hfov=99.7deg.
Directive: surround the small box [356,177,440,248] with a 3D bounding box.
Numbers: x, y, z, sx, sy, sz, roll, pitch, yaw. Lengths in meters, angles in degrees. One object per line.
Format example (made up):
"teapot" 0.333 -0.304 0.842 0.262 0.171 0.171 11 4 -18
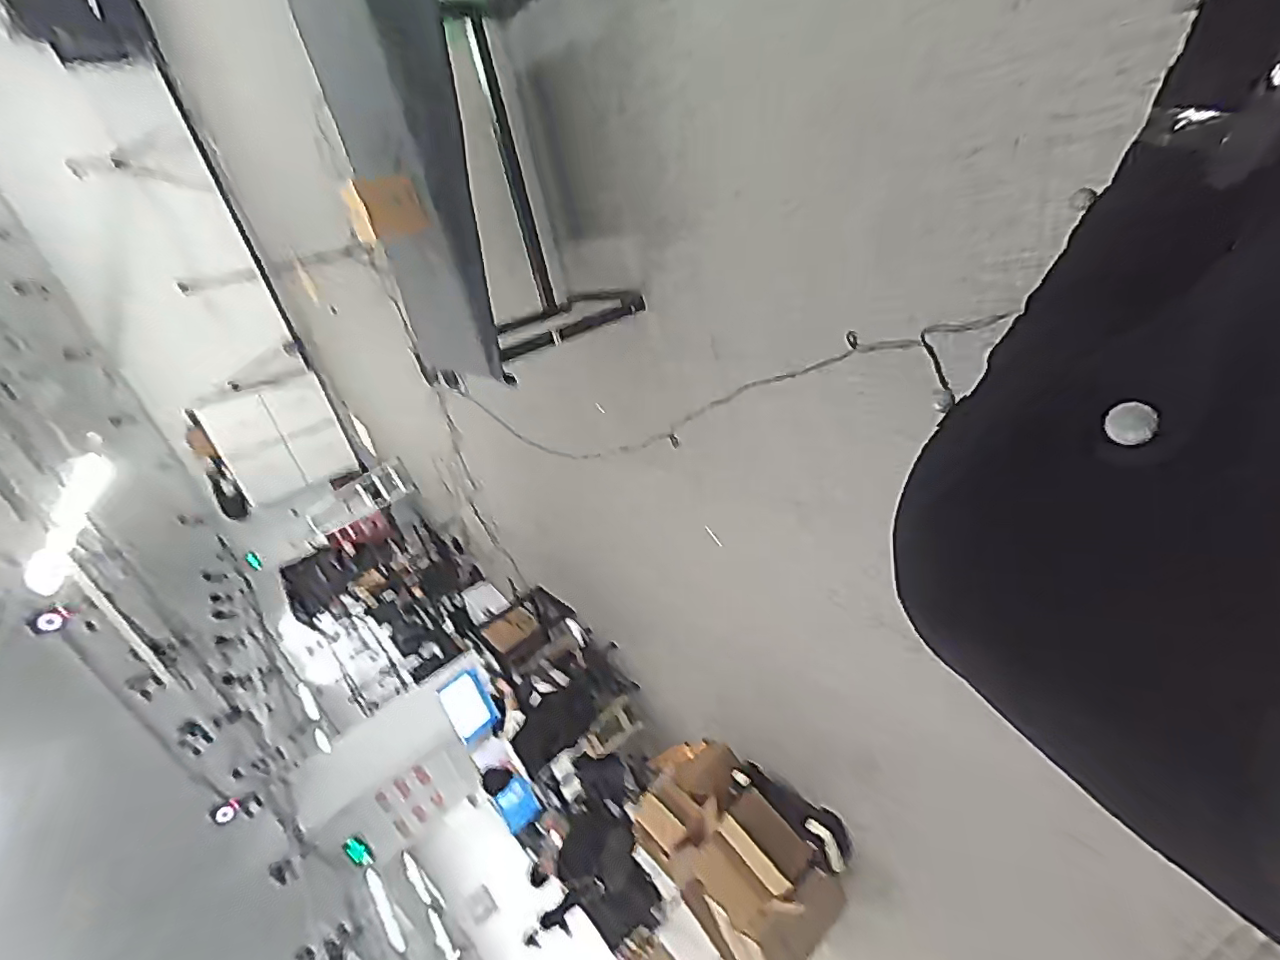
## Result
"small box" -0.749 -0.833 1.689 0.179 0.176 0.168 22 133 47
